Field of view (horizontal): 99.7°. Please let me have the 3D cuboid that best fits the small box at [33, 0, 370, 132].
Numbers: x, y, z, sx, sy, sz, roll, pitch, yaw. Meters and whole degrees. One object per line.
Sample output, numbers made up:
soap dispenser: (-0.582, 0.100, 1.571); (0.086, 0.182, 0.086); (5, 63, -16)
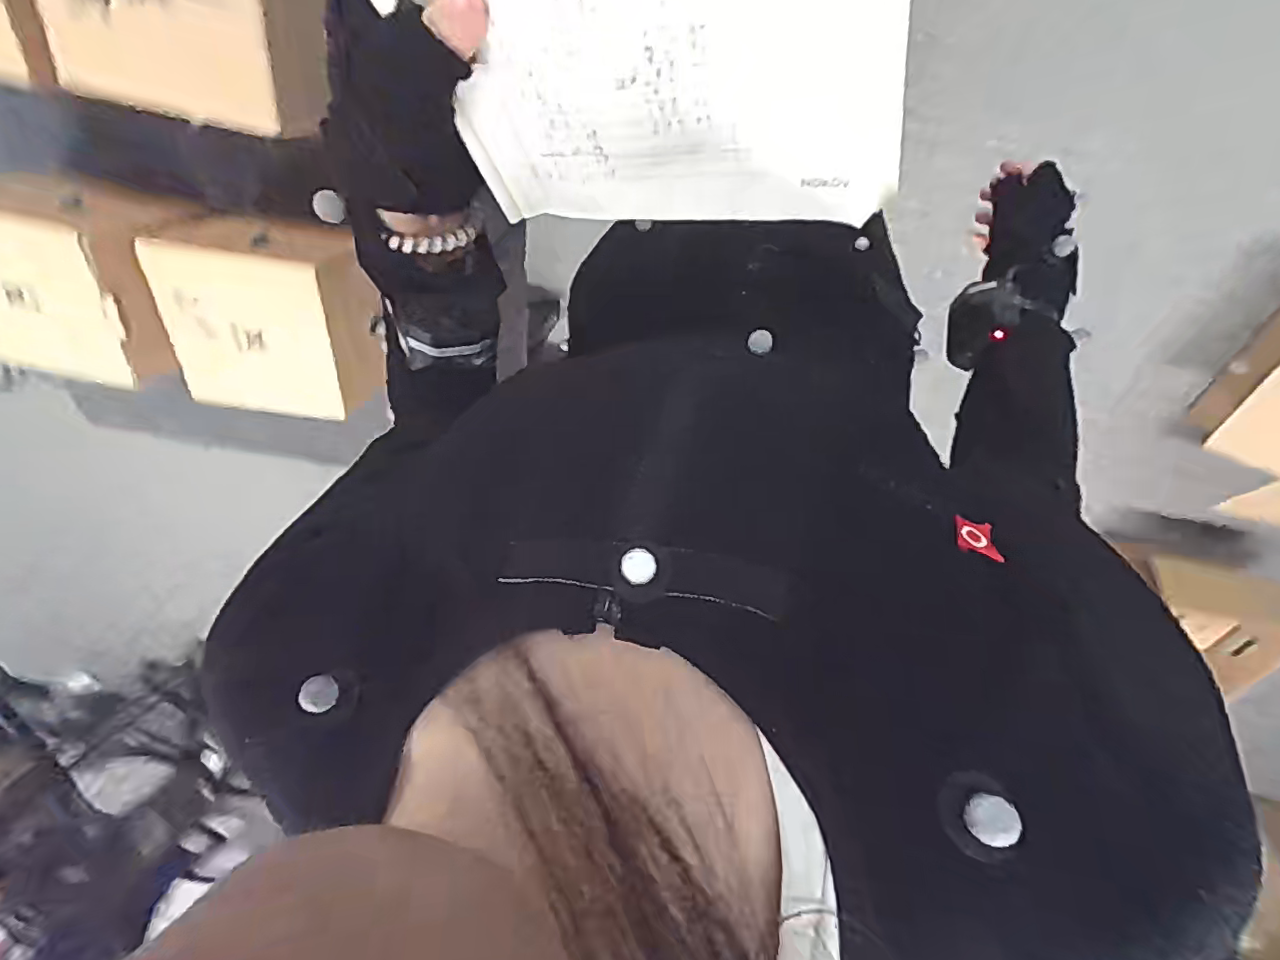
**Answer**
small box: (-0.361, -0.412, 0.461); (0.179, 0.176, 0.168); (12, 125, -3)
